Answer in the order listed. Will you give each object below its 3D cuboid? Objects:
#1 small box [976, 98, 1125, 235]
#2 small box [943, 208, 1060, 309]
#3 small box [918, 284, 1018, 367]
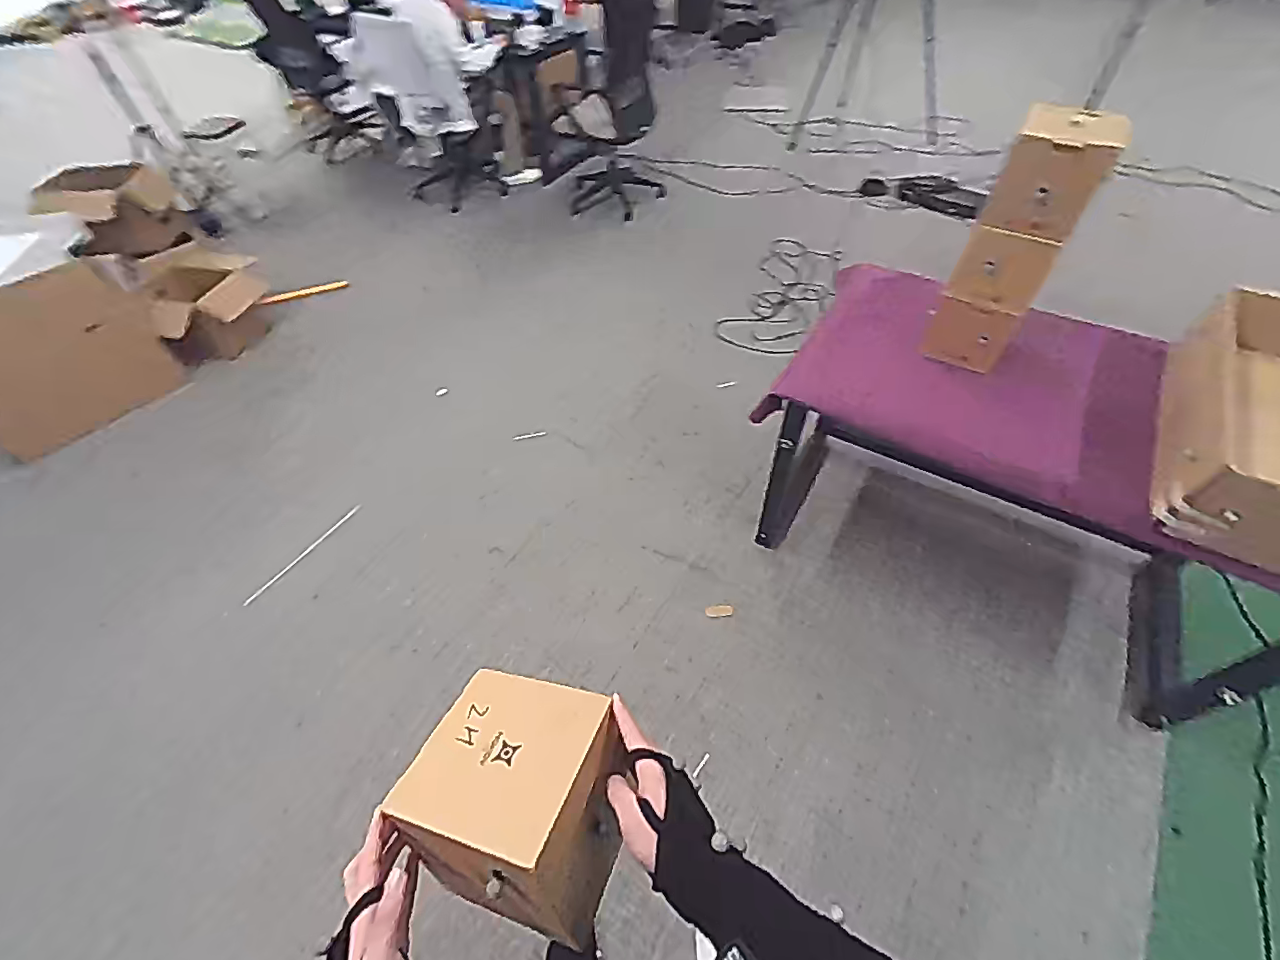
[{"bbox_3d":[0.784,-0.605,1.048,0.168,0.176,0.179,25,58,20],"label":"small box"},{"bbox_3d":[0.788,-0.500,1.175,0.168,0.176,0.179,26,57,21],"label":"small box"},{"bbox_3d":[0.798,-0.403,1.303,0.168,0.176,0.179,26,57,21],"label":"small box"}]
